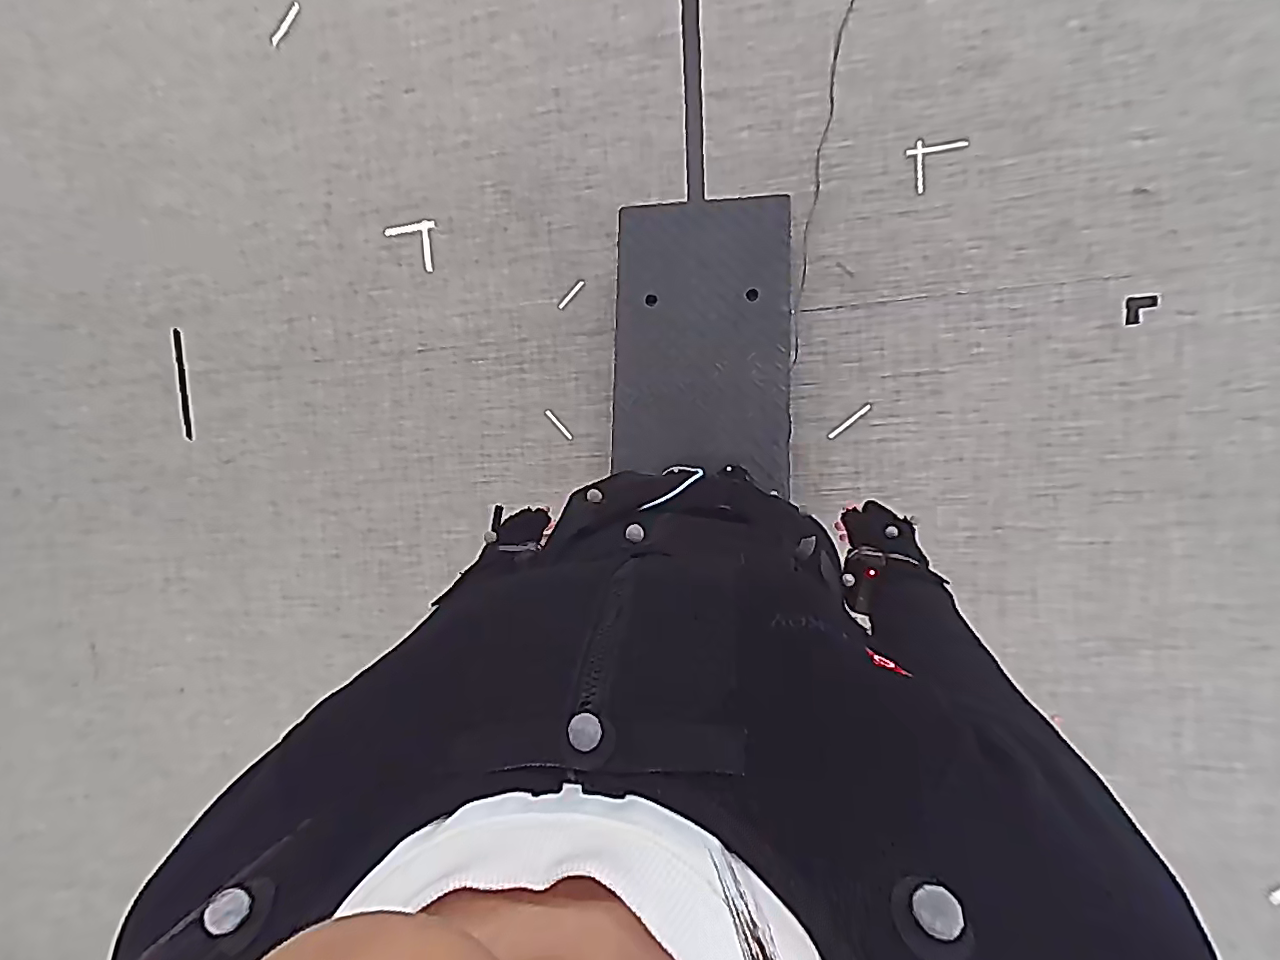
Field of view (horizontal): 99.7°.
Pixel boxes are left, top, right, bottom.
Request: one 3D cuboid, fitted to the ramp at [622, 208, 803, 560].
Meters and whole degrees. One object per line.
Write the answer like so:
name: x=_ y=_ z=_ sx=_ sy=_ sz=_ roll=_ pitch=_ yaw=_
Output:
ramp: x=0.189 y=-0.278 z=1.521 sx=0.509 sy=0.206 sz=0.991 roll=-3 pitch=92 yaw=12
